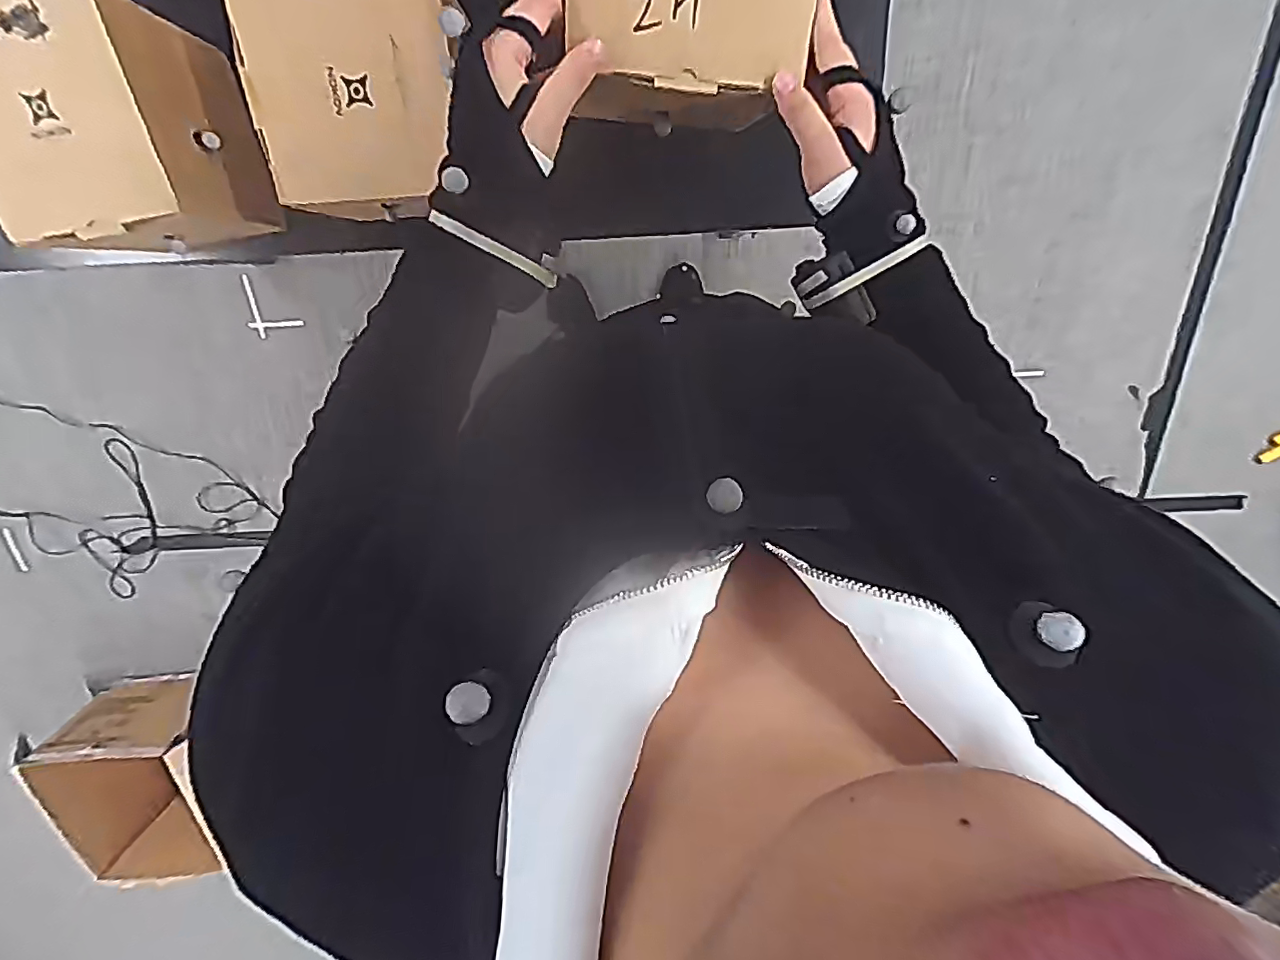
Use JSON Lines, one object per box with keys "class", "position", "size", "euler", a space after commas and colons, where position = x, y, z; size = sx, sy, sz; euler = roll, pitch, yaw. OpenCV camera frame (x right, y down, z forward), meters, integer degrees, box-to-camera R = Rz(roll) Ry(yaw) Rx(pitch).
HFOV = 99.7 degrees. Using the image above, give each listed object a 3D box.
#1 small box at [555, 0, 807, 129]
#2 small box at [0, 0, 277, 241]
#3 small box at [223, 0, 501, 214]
{"class": "small box", "position": [0.023, -0.386, 0.402], "size": [0.168, 0.176, 0.179], "euler": [1, 114, -6]}
{"class": "small box", "position": [-0.506, -0.339, 0.530], "size": [0.168, 0.176, 0.179], "euler": [-9, 112, 1]}
{"class": "small box", "position": [-0.250, -0.363, 0.532], "size": [0.179, 0.176, 0.168], "euler": [-4, 111, -1]}
